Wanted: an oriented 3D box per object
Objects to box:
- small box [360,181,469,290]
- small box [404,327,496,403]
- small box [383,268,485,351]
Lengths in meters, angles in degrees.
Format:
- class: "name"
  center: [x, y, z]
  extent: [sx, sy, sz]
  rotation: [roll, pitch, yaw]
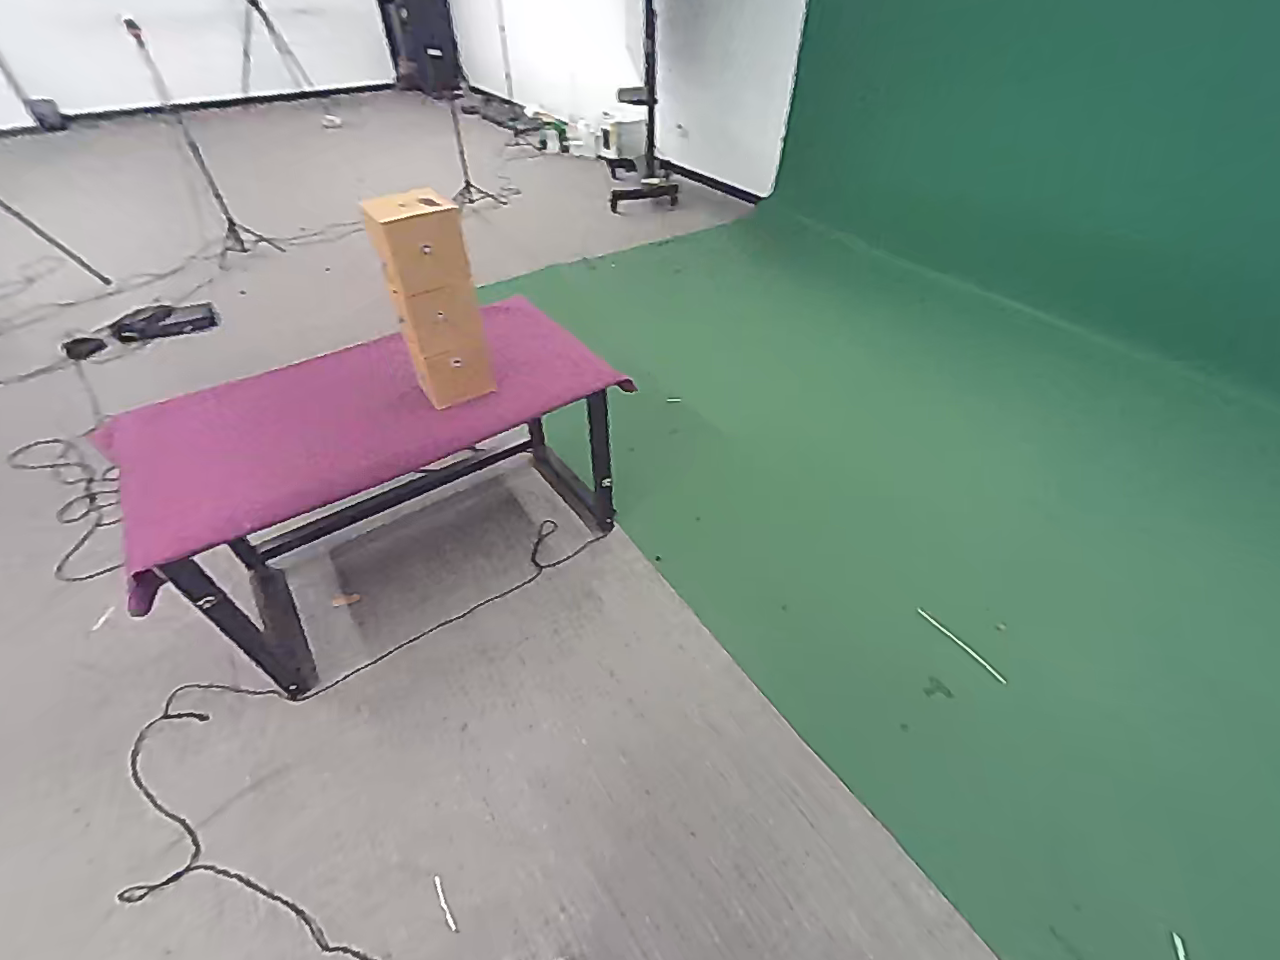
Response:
- class: "small box"
  center: [-0.518, -0.573, 1.266]
  extent: [0.179, 0.176, 0.168]
  rotation: [-28, 52, -24]
- class: "small box"
  center: [-0.521, -0.339, 1.497]
  extent: [0.179, 0.176, 0.168]
  rotation: [-25, 51, -23]
- class: "small box"
  center: [-0.520, -0.455, 1.382]
  extent: [0.179, 0.176, 0.168]
  rotation: [-27, 52, -23]
